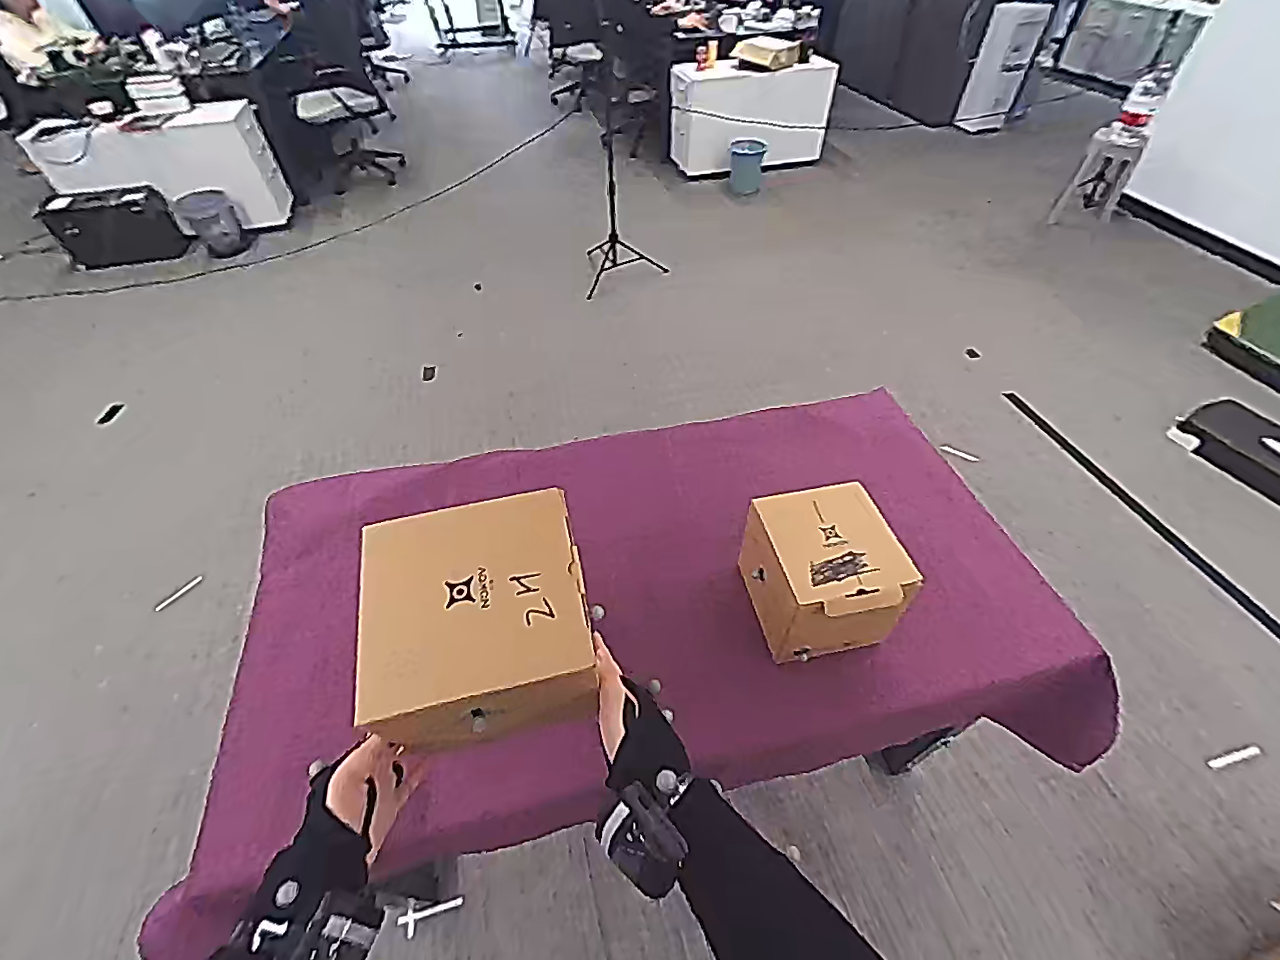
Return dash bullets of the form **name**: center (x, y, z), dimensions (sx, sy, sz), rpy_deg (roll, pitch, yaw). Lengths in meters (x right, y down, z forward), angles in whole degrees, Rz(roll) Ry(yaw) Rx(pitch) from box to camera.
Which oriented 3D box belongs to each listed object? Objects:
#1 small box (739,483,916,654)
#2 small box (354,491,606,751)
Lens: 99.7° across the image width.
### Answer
- **small box**: center (0.251, 0.132, 0.775), dimensions (0.168, 0.176, 0.179), rpy_deg (-9, 48, -7)
- **small box**: center (-0.134, 0.135, 0.497), dimensions (0.179, 0.176, 0.168), rpy_deg (-11, 58, -8)
